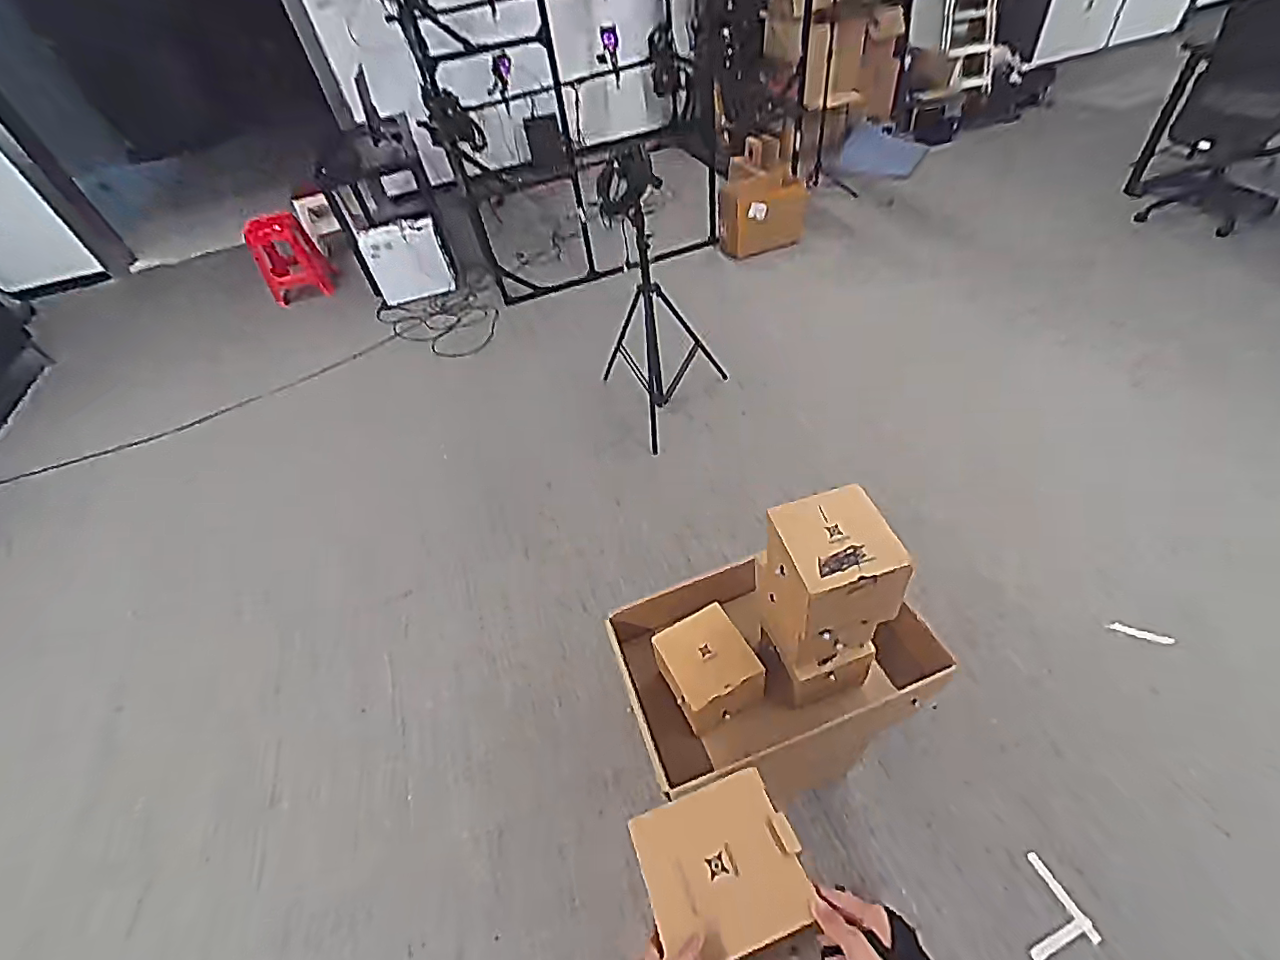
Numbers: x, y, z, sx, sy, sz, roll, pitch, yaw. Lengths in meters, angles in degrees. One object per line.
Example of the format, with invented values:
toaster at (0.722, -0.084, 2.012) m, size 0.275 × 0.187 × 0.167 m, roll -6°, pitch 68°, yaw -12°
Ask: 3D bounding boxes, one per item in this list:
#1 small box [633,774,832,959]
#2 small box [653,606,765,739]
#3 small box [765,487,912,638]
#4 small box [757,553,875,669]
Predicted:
small box at (0.107, 0.502, 0.656) m, size 0.179 × 0.176 × 0.168 m, roll -19°, pitch 38°, yaw -8°
small box at (0.144, 0.410, 1.148) m, size 0.168 × 0.176 × 0.179 m, roll -25°, pitch 49°, yaw -14°
small box at (0.321, 0.146, 0.908) m, size 0.168 × 0.176 × 0.179 m, roll -16°, pitch 46°, yaw -1°
small box at (0.337, 0.233, 1.051) m, size 0.168 × 0.176 × 0.179 m, roll -20°, pitch 48°, yaw -5°
